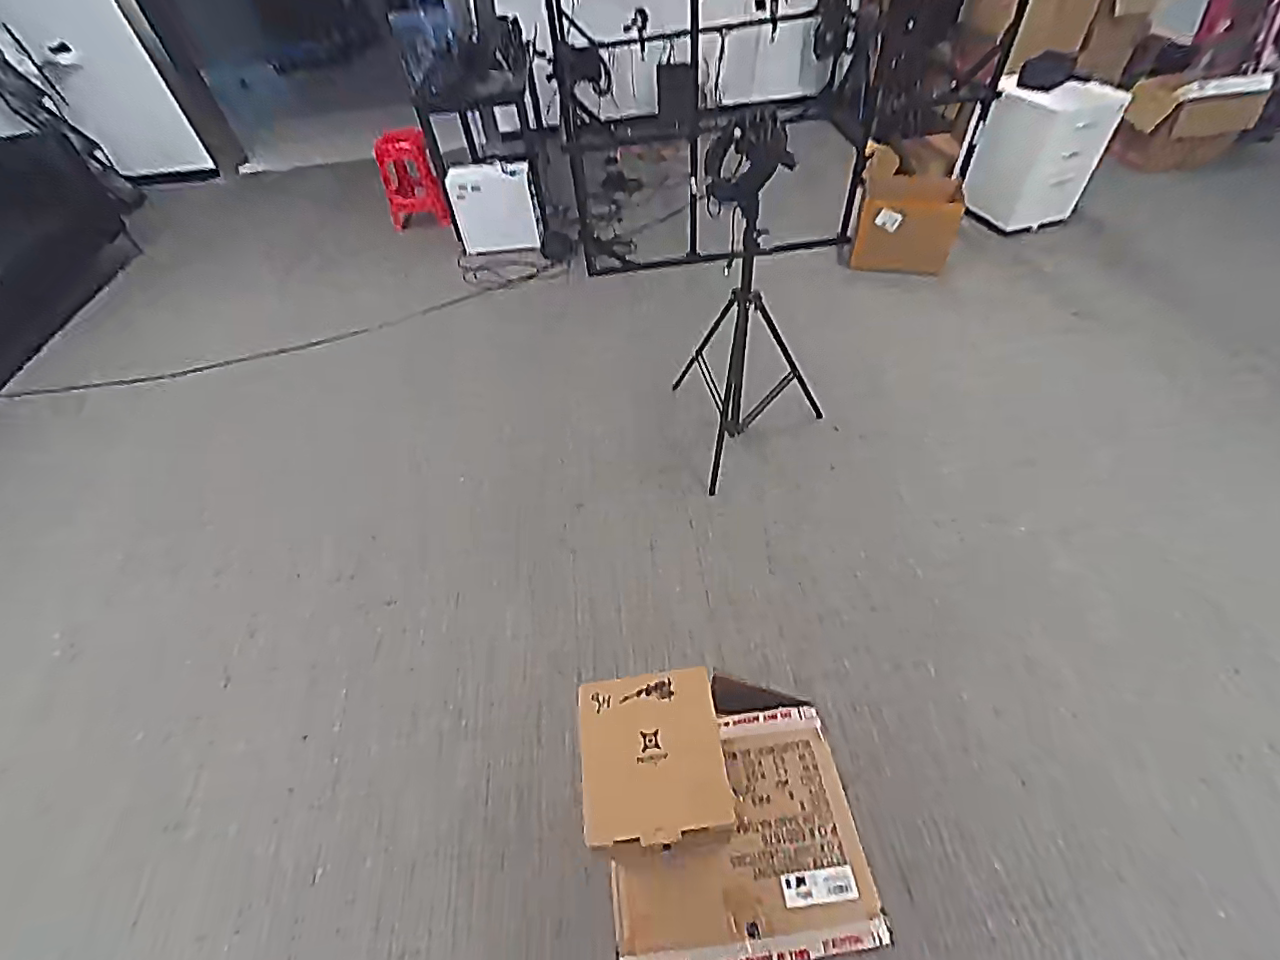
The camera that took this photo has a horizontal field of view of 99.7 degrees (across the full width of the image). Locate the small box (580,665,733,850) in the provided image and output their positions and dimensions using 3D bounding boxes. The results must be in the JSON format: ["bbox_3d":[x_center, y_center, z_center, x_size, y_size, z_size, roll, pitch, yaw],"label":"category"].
[{"bbox_3d":[0.022,0.362,0.695,0.168,0.176,0.179,-9,52,0],"label":"small box"}]

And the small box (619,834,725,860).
[{"bbox_3d":[0.032,0.459,0.828,0.168,0.176,0.179,-10,51,0],"label":"small box"}]
